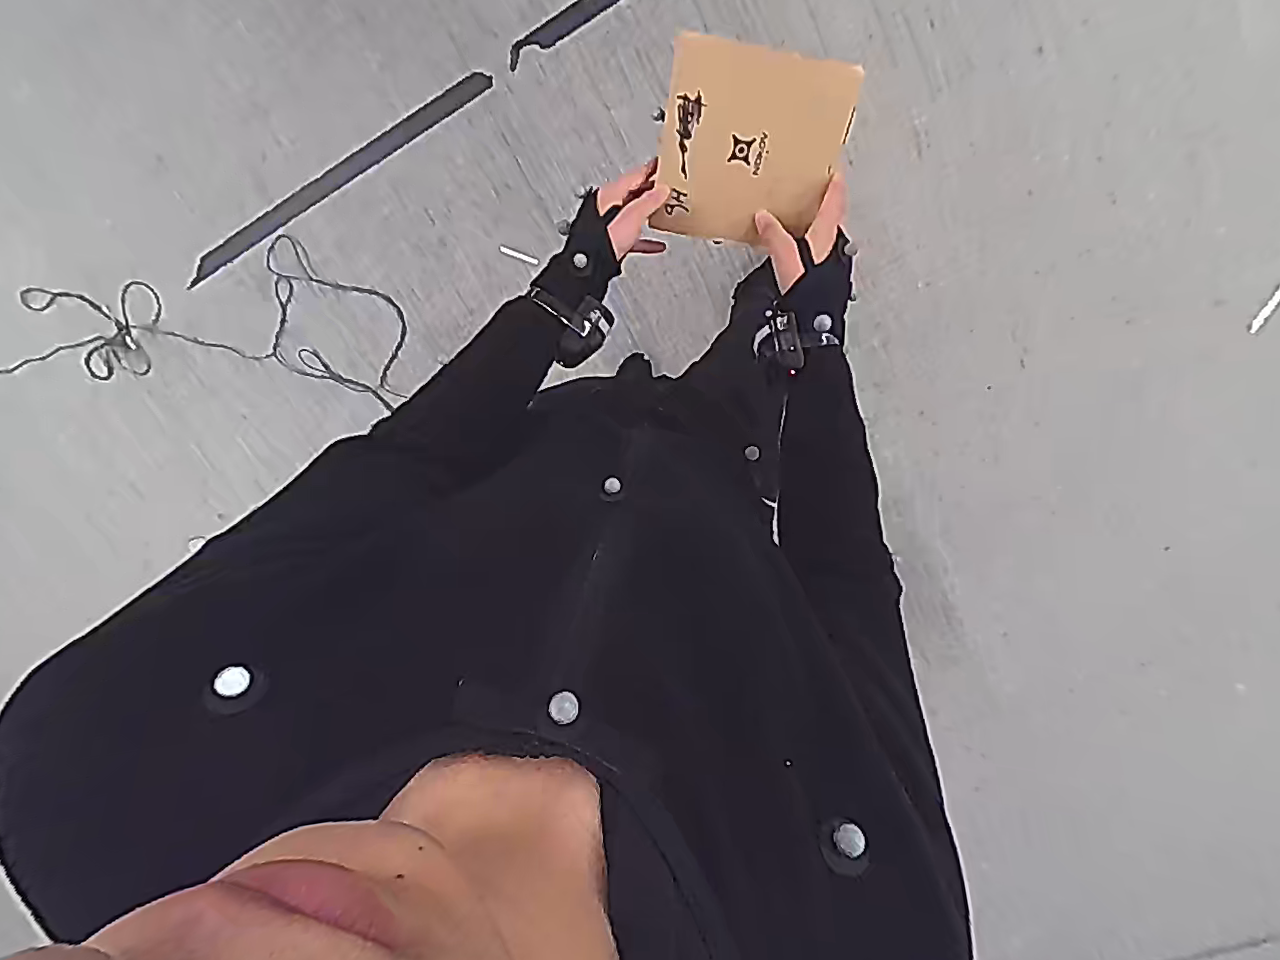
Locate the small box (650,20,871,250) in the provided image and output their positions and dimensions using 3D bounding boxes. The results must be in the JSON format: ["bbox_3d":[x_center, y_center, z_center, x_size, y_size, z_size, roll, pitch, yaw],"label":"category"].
[{"bbox_3d":[0.111,-0.363,0.584,0.179,0.176,0.168,9,122,-3],"label":"small box"}]
